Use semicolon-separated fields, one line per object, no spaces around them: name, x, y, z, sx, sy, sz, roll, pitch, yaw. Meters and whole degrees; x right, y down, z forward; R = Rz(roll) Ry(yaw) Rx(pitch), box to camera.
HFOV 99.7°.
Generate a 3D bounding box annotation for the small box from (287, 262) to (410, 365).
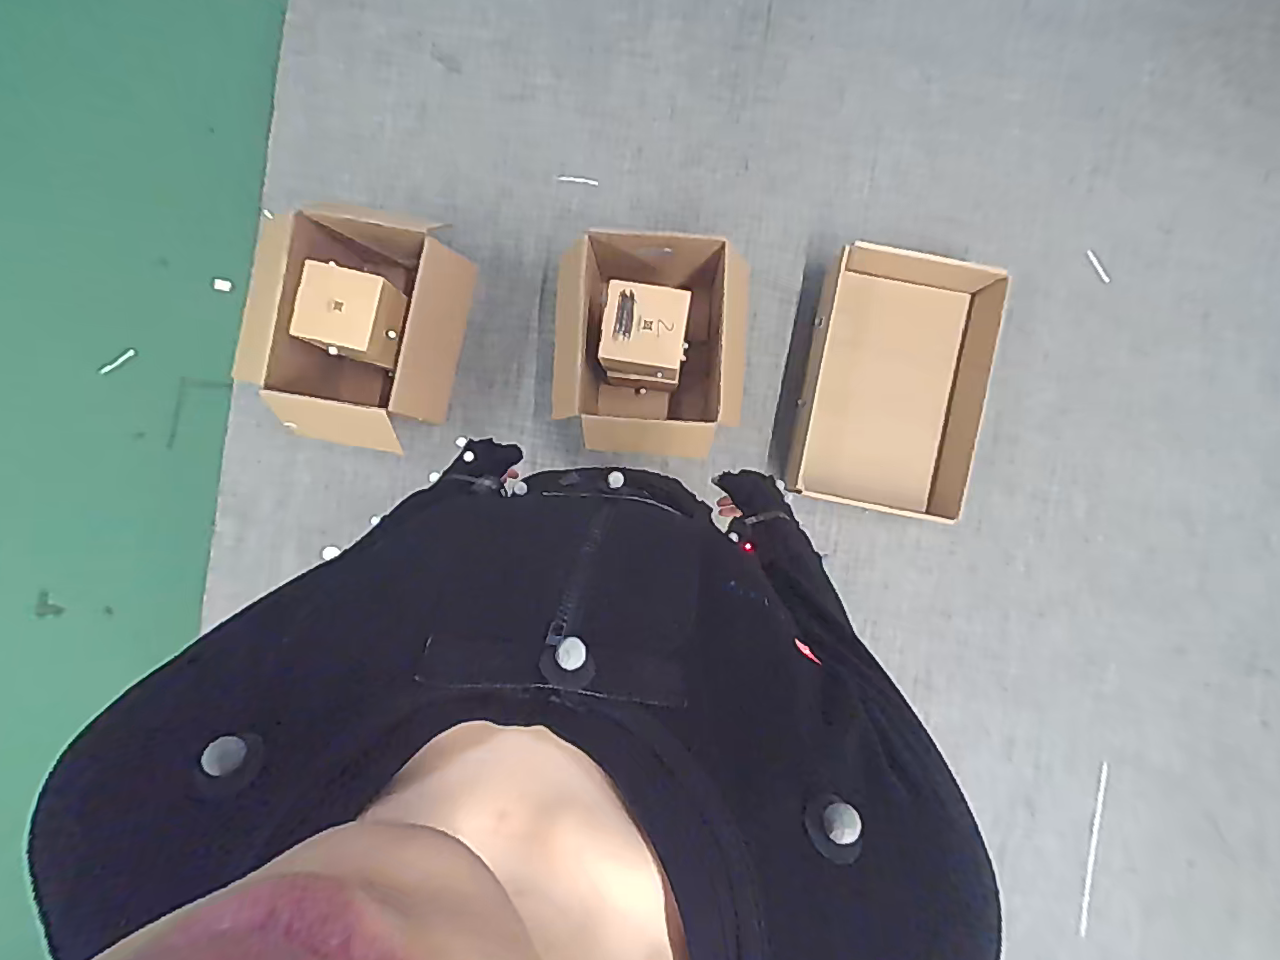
small box;-0.652;-0.369;1.232;0.179;0.176;0.168;13;90;0
